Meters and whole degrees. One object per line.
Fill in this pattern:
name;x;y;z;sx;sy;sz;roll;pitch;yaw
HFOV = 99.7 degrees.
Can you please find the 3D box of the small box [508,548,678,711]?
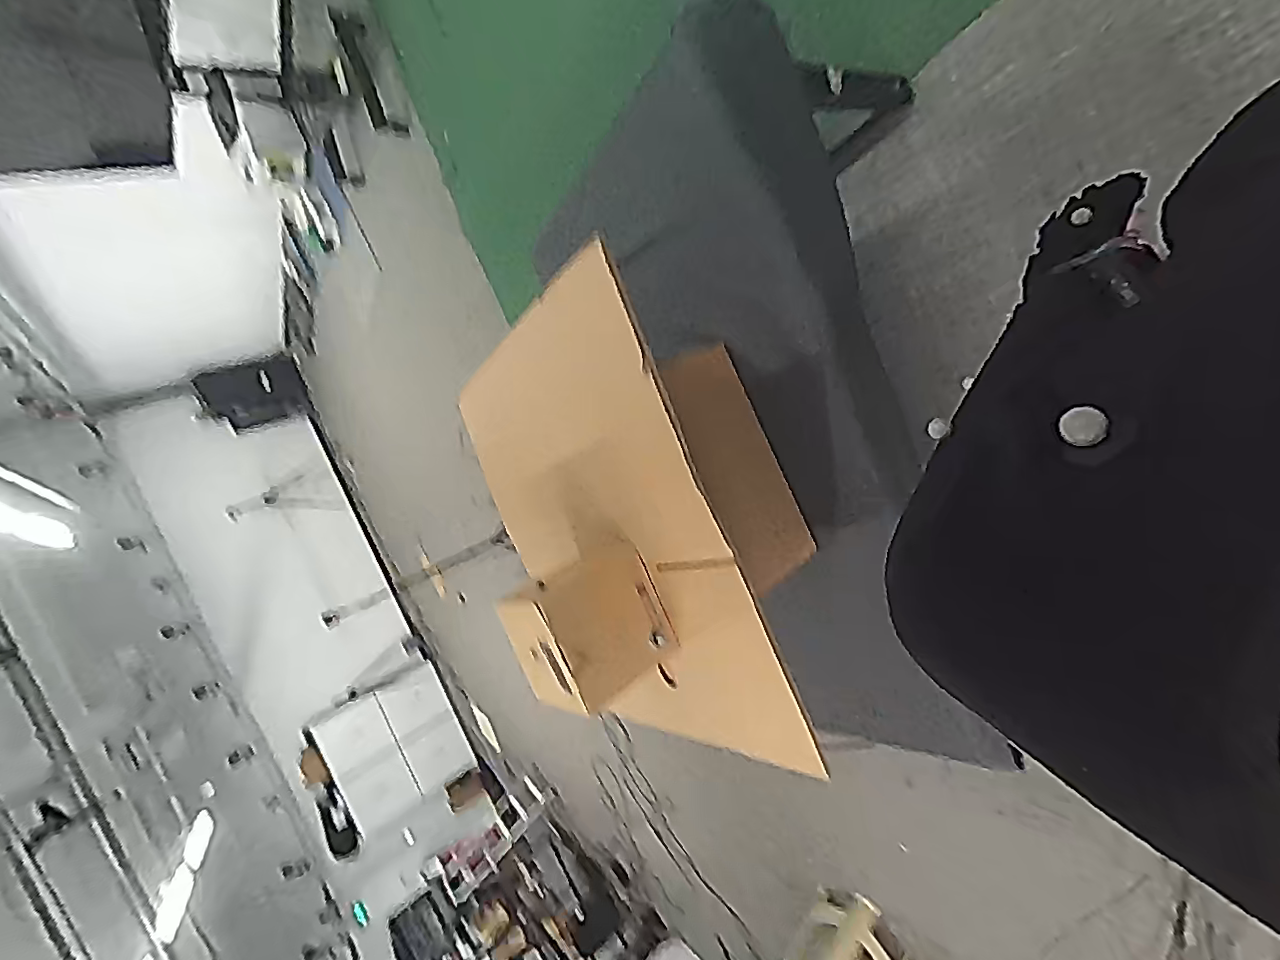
small box;-0.064;0.212;0.806;0.179;0.176;0.168;-21;94;56
